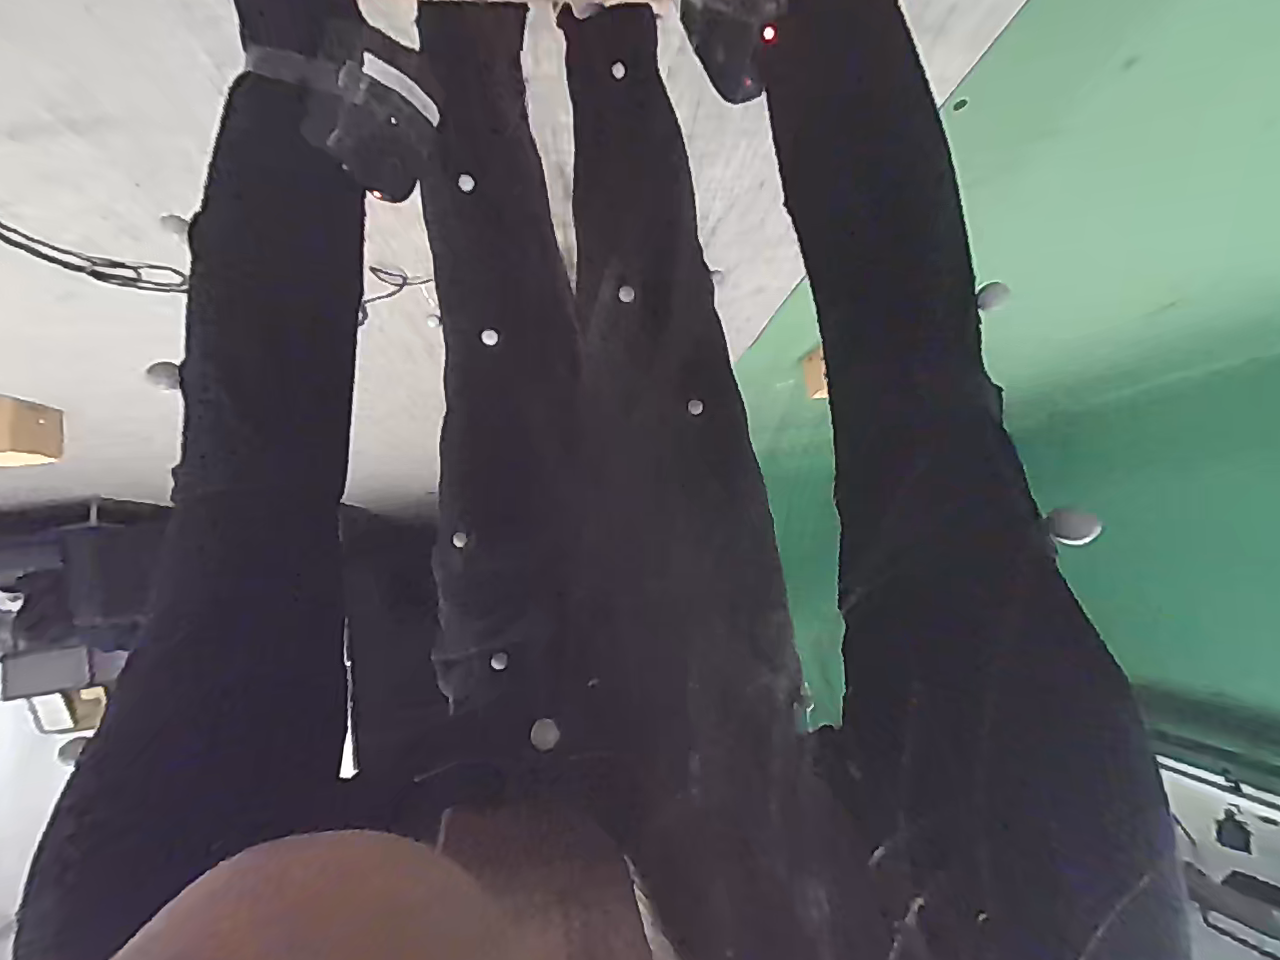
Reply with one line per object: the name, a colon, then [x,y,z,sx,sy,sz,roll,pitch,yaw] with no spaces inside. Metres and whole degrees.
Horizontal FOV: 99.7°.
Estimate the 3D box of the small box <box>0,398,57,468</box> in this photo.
small box: [-1.931,-0.141,1.636,0.179,0.176,0.168,-7,173,-6]
